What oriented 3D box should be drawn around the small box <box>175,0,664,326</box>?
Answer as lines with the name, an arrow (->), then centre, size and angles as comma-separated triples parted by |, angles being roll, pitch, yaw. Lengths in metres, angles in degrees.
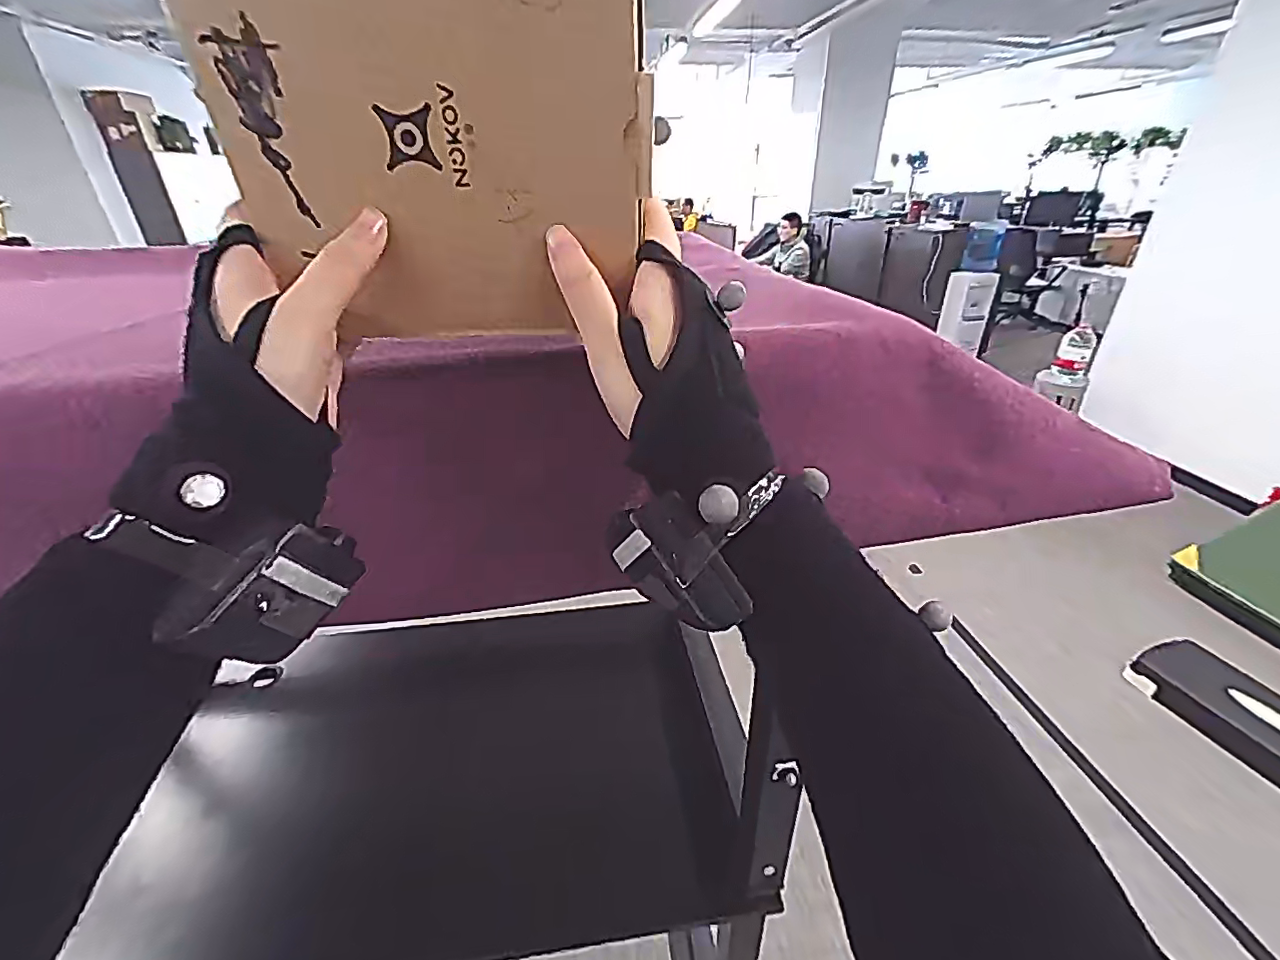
small box -> -0.082, -0.189, 0.281 | 0.179, 0.168, 0.176 | -1, 35, -1
